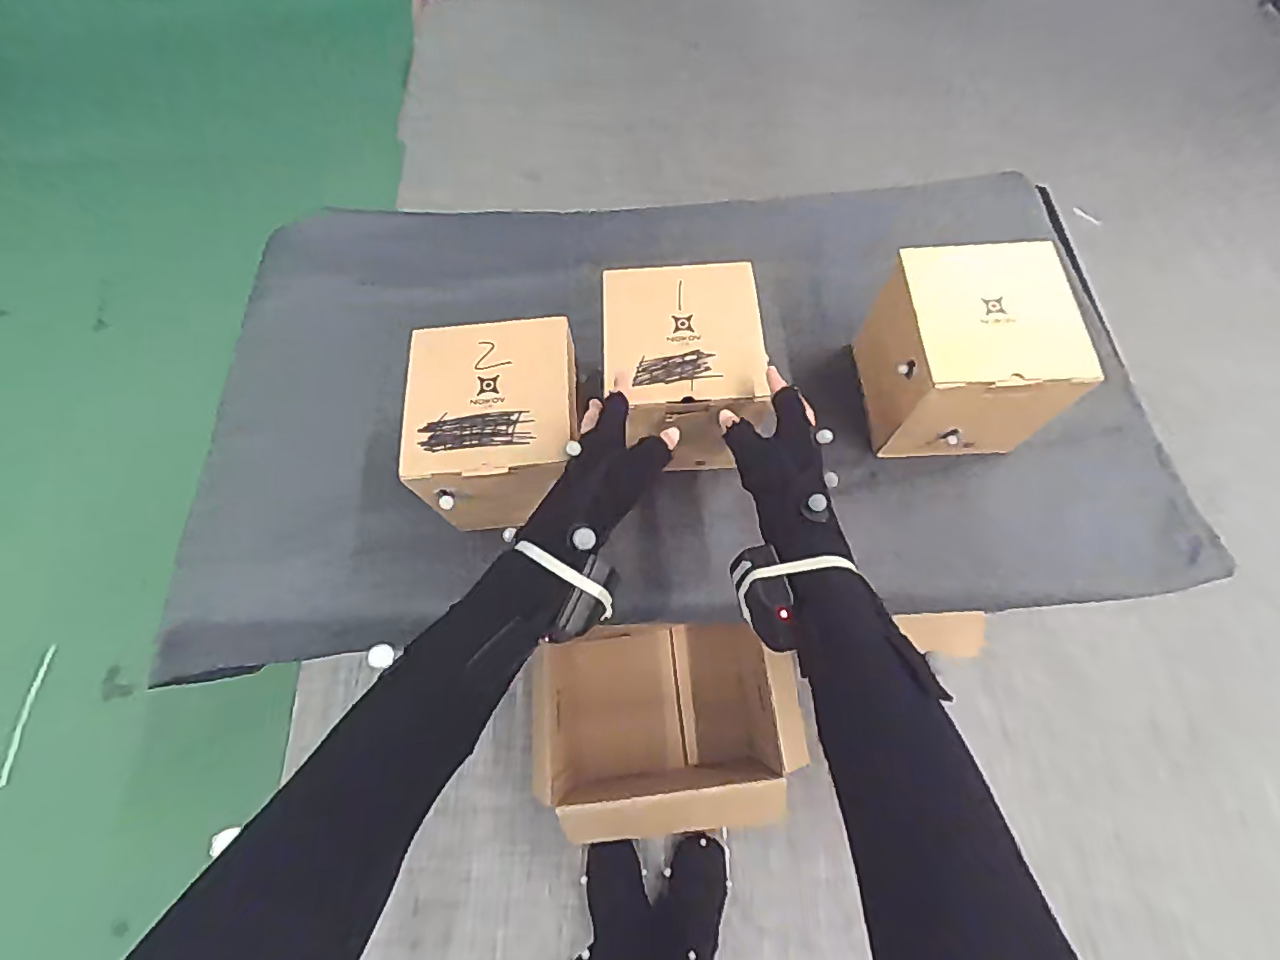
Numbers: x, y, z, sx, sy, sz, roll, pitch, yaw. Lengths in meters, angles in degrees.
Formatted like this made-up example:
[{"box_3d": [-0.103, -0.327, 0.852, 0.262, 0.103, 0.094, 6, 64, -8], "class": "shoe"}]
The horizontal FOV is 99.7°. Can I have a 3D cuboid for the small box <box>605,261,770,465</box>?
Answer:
[{"box_3d": [0.049, -0.124, 0.632, 0.168, 0.176, 0.179, -3, 67, 1], "class": "small box"}]

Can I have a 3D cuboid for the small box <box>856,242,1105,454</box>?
[{"box_3d": [0.368, -0.145, 0.627, 0.168, 0.176, 0.179, -2, 69, 2], "class": "small box"}]
